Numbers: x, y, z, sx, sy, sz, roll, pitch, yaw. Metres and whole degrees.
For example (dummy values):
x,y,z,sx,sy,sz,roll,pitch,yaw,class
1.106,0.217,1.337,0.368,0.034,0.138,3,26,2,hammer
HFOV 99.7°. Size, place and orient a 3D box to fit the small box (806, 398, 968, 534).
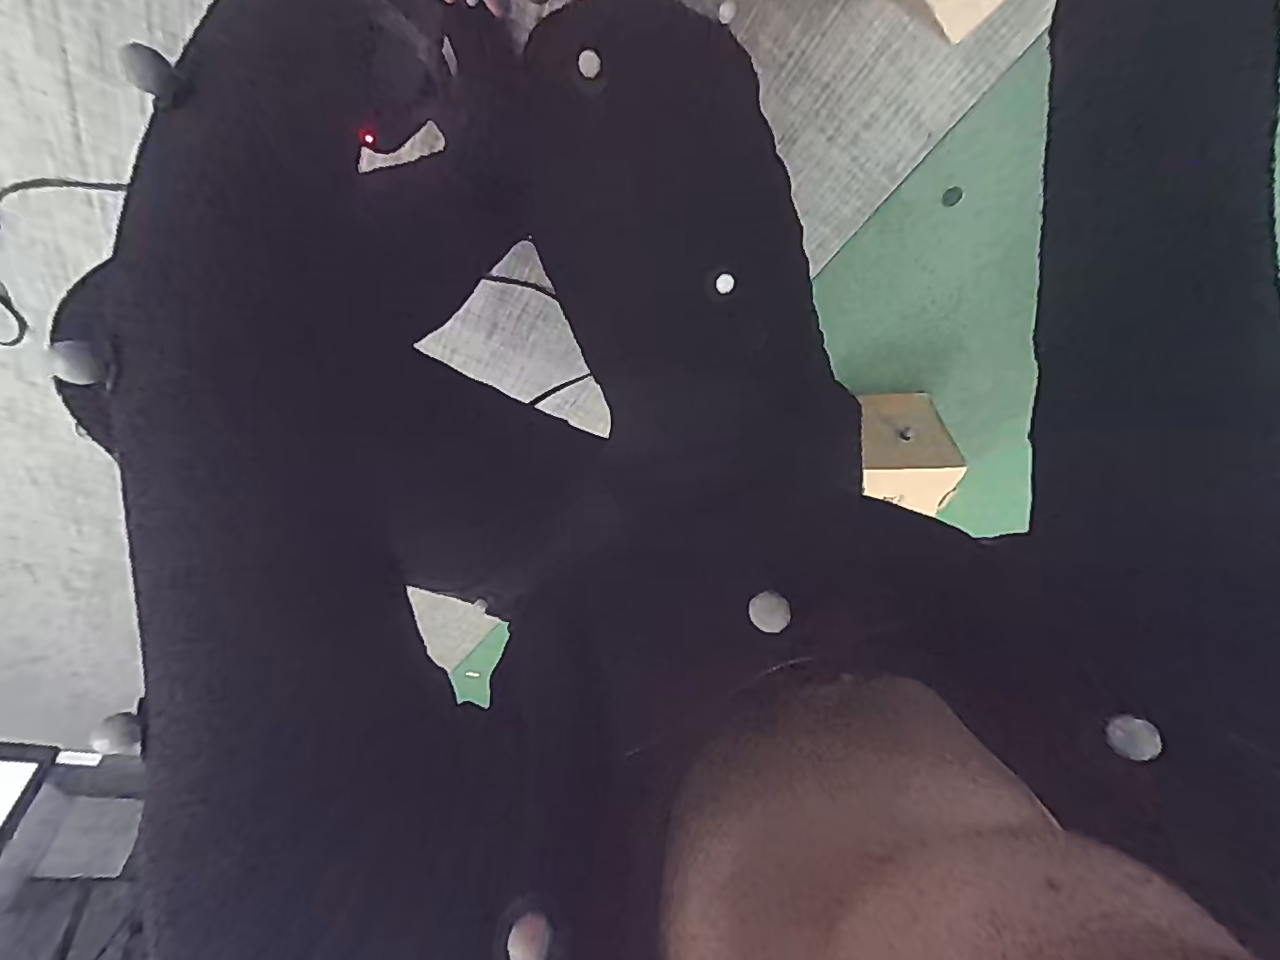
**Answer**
x,y,z,sx,sy,sz,roll,pitch,yaw,class
0.400,-0.025,0.912,0.179,0.176,0.168,-2,140,0,small box
